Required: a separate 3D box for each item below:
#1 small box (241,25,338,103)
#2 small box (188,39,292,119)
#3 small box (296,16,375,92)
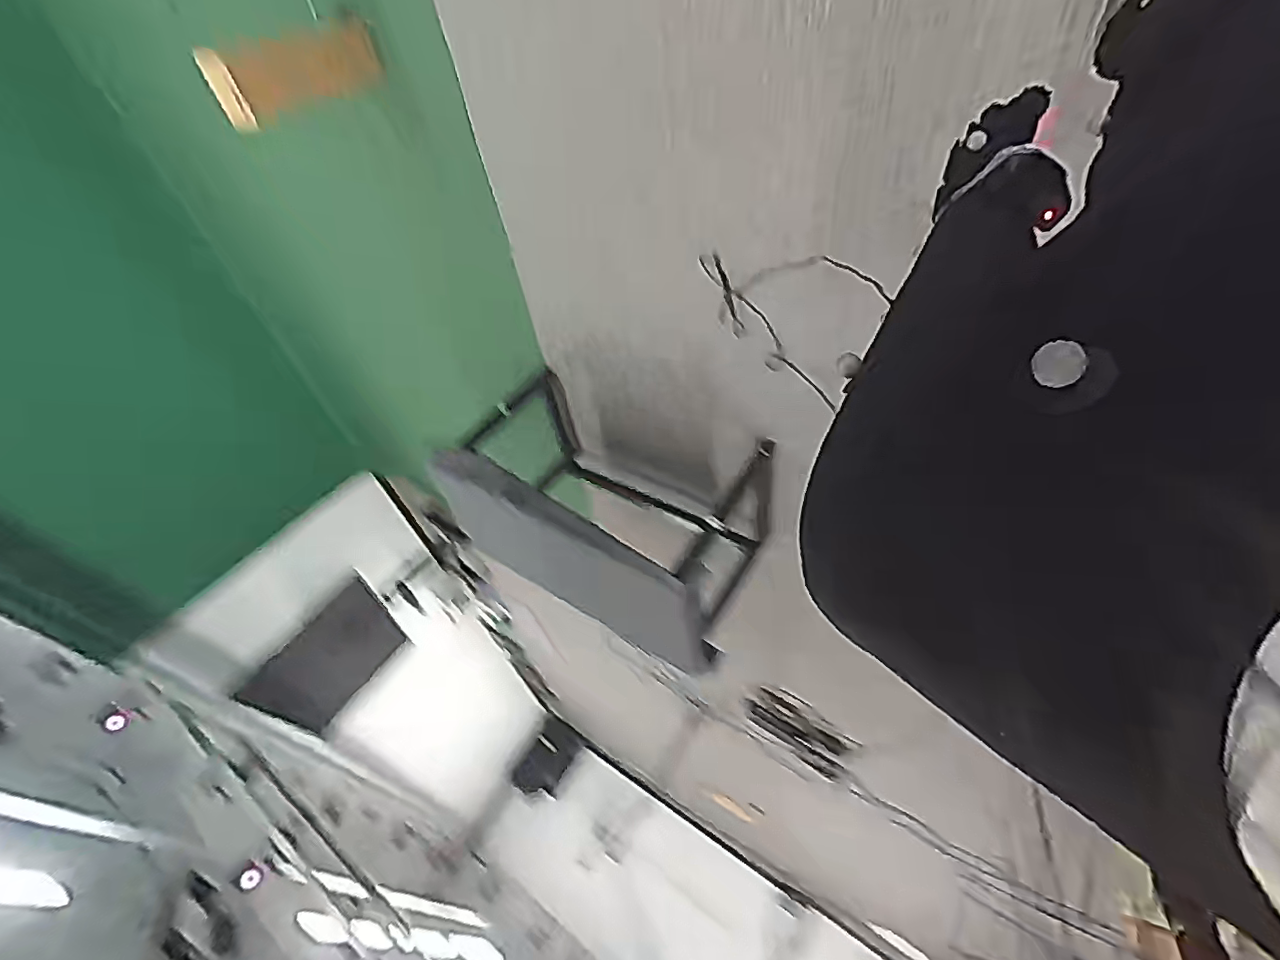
[{"bbox_3d":[-1.124,-1.344,1.746,0.179,0.176,0.168,24,147,27],"label":"small box"},{"bbox_3d":[-1.217,-1.236,1.664,0.179,0.176,0.168,23,146,28],"label":"small box"},{"bbox_3d":[-1.041,-1.437,1.821,0.179,0.176,0.168,24,148,25],"label":"small box"}]
